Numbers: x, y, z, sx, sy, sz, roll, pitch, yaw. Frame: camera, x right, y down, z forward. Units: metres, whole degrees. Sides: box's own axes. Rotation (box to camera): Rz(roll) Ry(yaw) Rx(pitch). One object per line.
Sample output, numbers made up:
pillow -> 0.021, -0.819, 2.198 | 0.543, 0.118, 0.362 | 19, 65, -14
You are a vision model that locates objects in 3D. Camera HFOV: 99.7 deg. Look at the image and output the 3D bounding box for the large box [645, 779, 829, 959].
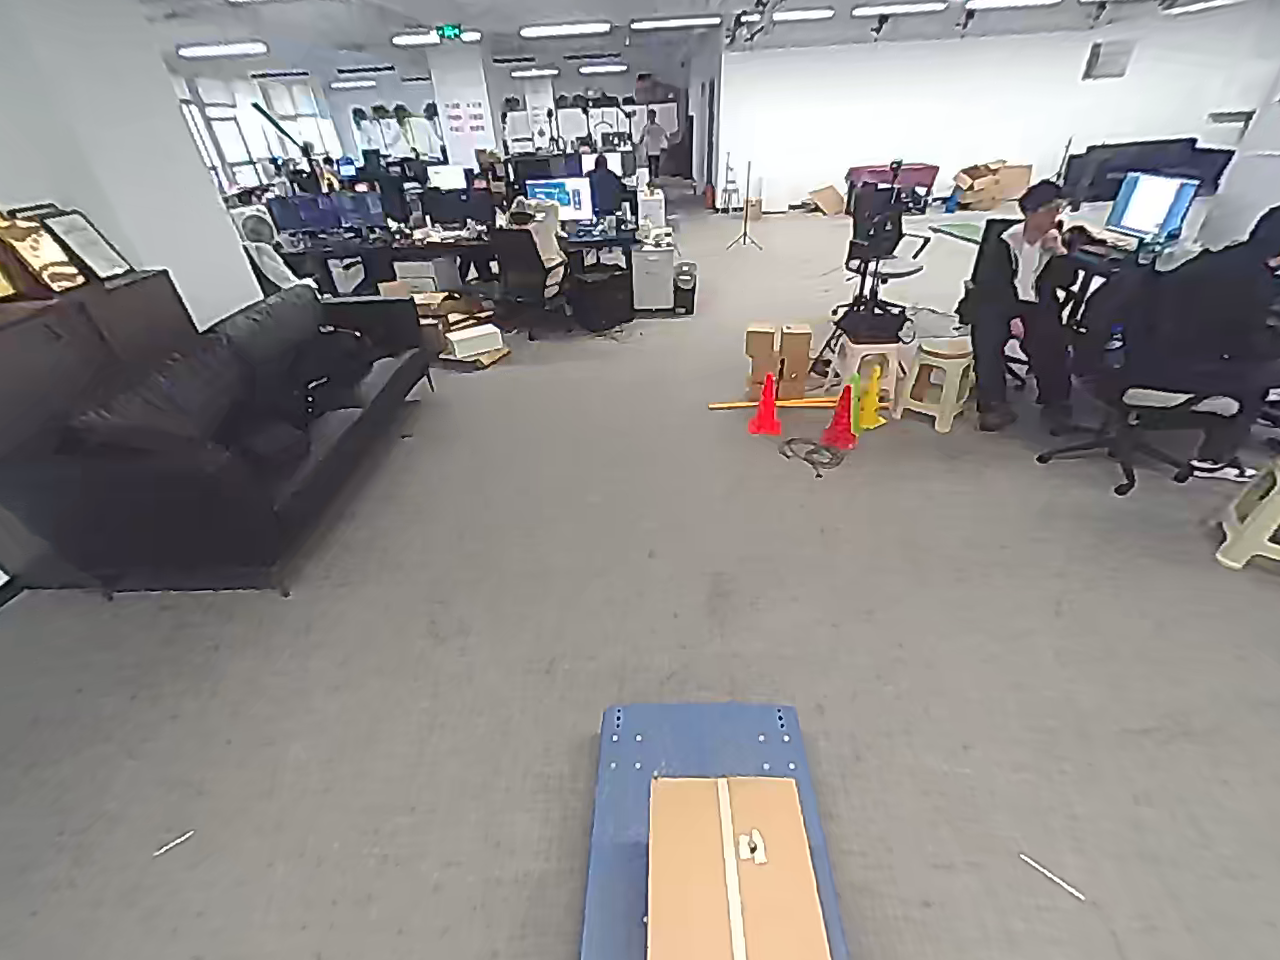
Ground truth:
large box -> 0.175, 0.886, 1.085 | 0.320, 0.320, 0.408 | -2, 33, 2
